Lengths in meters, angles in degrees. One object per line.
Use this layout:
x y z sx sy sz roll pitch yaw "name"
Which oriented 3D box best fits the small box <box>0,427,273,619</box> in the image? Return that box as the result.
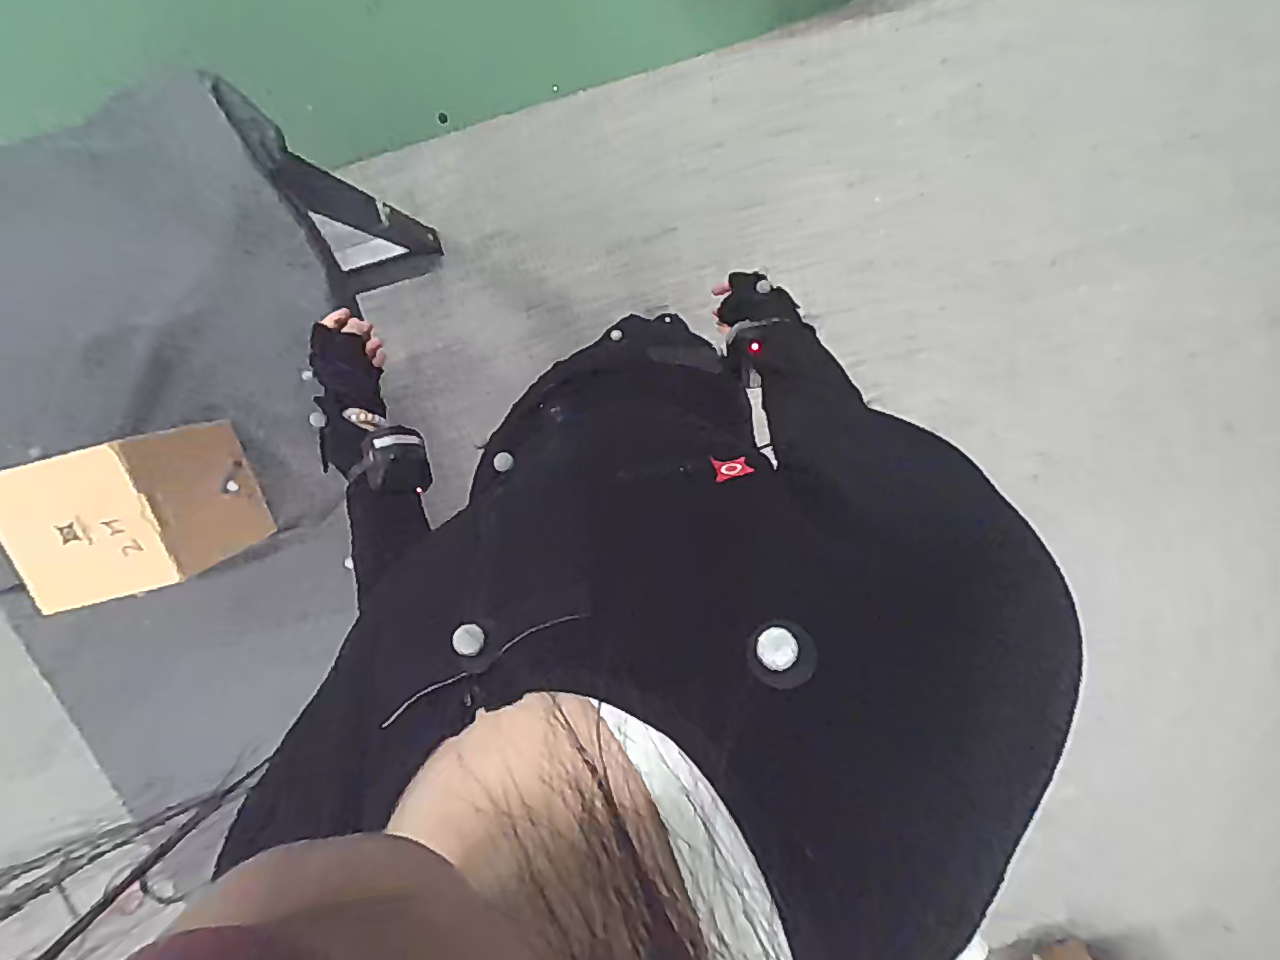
-0.610 0.042 0.664 0.179 0.176 0.168 -14 104 3 "small box"
